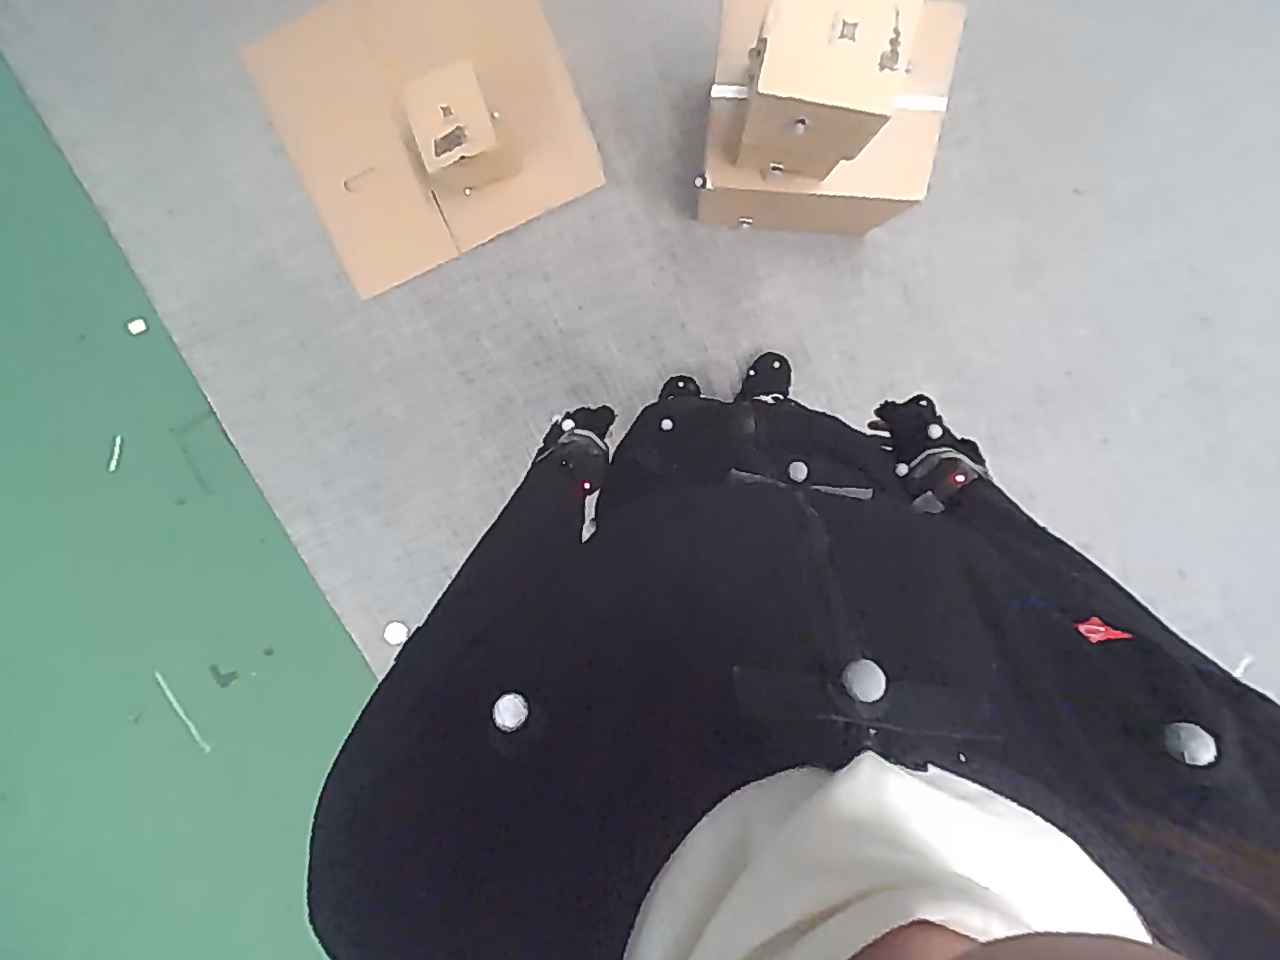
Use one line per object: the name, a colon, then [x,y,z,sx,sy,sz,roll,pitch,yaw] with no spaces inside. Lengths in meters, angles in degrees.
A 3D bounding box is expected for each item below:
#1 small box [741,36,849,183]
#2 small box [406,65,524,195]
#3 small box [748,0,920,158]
small box: [0.264,-0.614,0.886,0.168,0.176,0.179,8,105,4]
small box: [-0.377,-0.760,1.203,0.168,0.176,0.179,-16,99,9]
small box: [0.250,-0.562,0.733,0.179,0.176,0.168,8,102,3]
